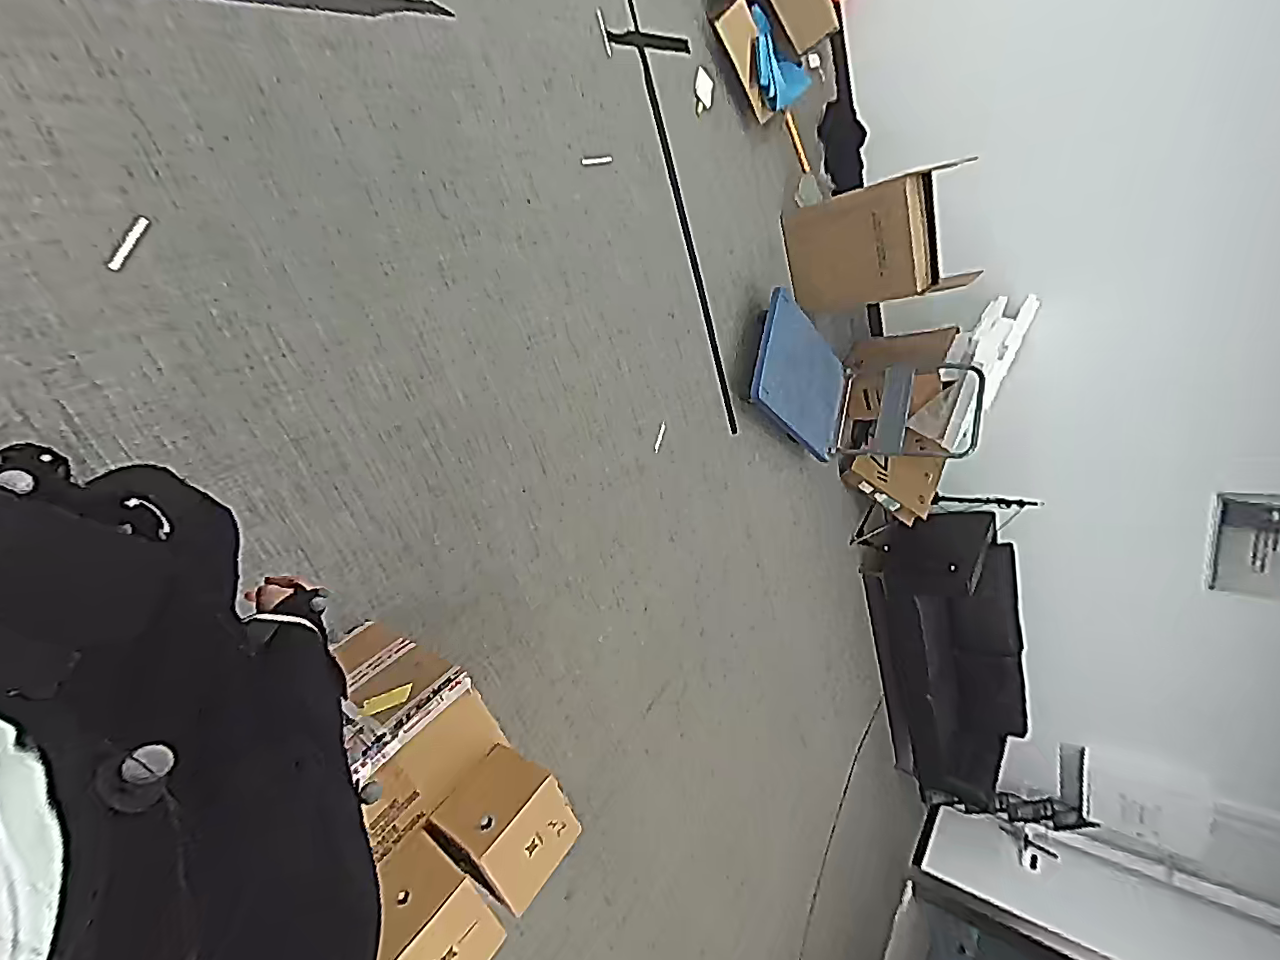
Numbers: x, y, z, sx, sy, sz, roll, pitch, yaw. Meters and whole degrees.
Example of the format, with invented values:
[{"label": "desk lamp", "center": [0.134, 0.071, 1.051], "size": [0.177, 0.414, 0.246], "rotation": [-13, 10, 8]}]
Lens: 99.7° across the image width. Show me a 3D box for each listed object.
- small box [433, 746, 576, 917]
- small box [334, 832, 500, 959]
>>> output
[{"label": "small box", "center": [-0.258, 0.642, 1.010], "size": [0.179, 0.176, 0.168], "rotation": [-39, 119, -42]}, {"label": "small box", "center": [-0.371, 0.737, 0.890], "size": [0.179, 0.176, 0.168], "rotation": [-38, 118, -39]}]
